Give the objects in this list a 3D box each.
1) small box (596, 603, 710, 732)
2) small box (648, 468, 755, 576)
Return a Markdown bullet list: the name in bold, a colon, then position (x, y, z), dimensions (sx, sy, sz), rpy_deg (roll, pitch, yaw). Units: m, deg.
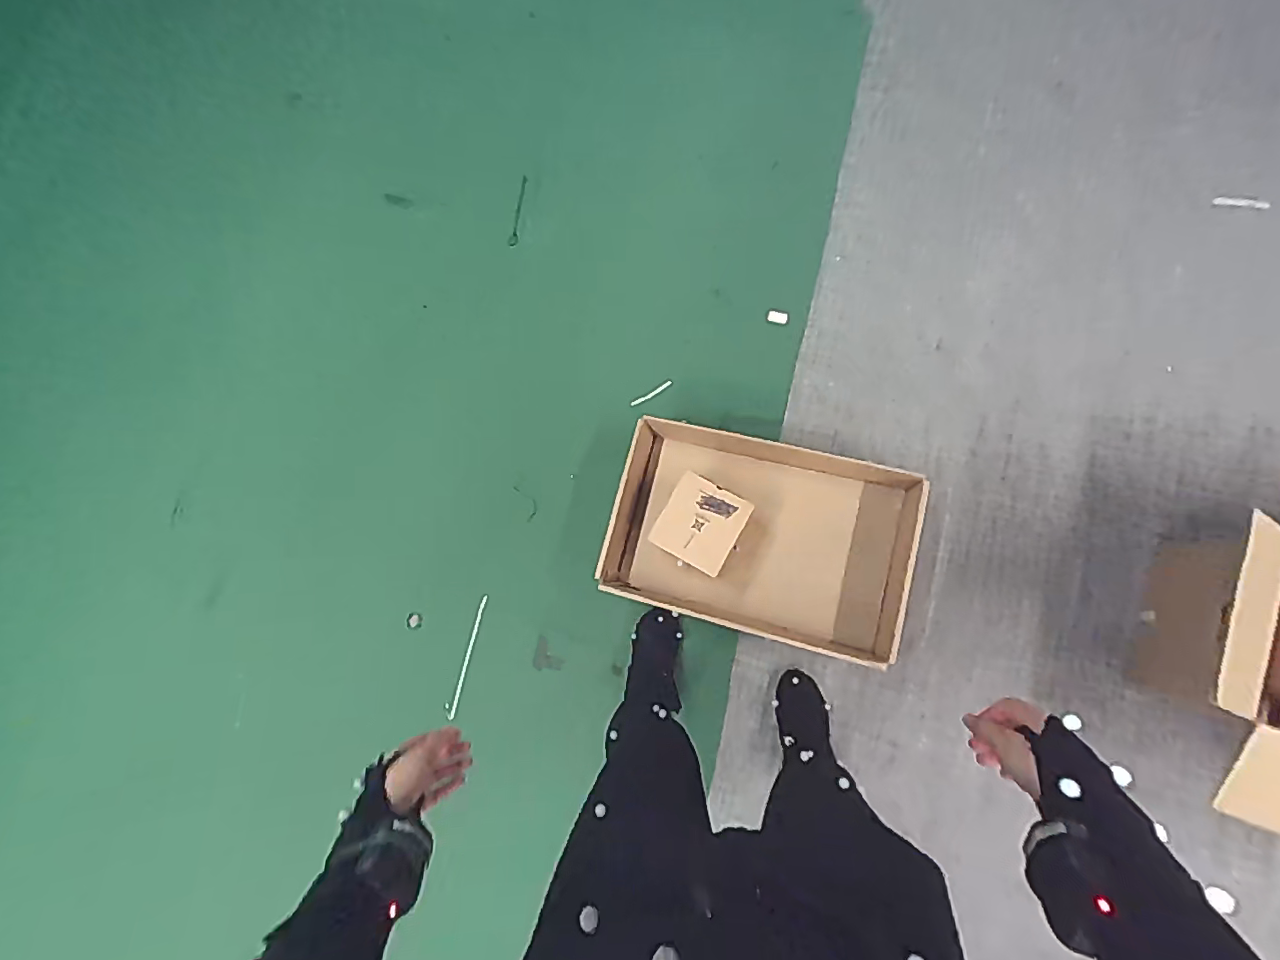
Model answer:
- **small box**: position (0.035, 0.407, 1.191), dimensions (0.179, 0.168, 0.176), rpy_deg (-31, 106, -21)
- **small box**: position (0.138, 0.098, 1.199), dimensions (0.168, 0.176, 0.179), rpy_deg (28, 86, 13)
